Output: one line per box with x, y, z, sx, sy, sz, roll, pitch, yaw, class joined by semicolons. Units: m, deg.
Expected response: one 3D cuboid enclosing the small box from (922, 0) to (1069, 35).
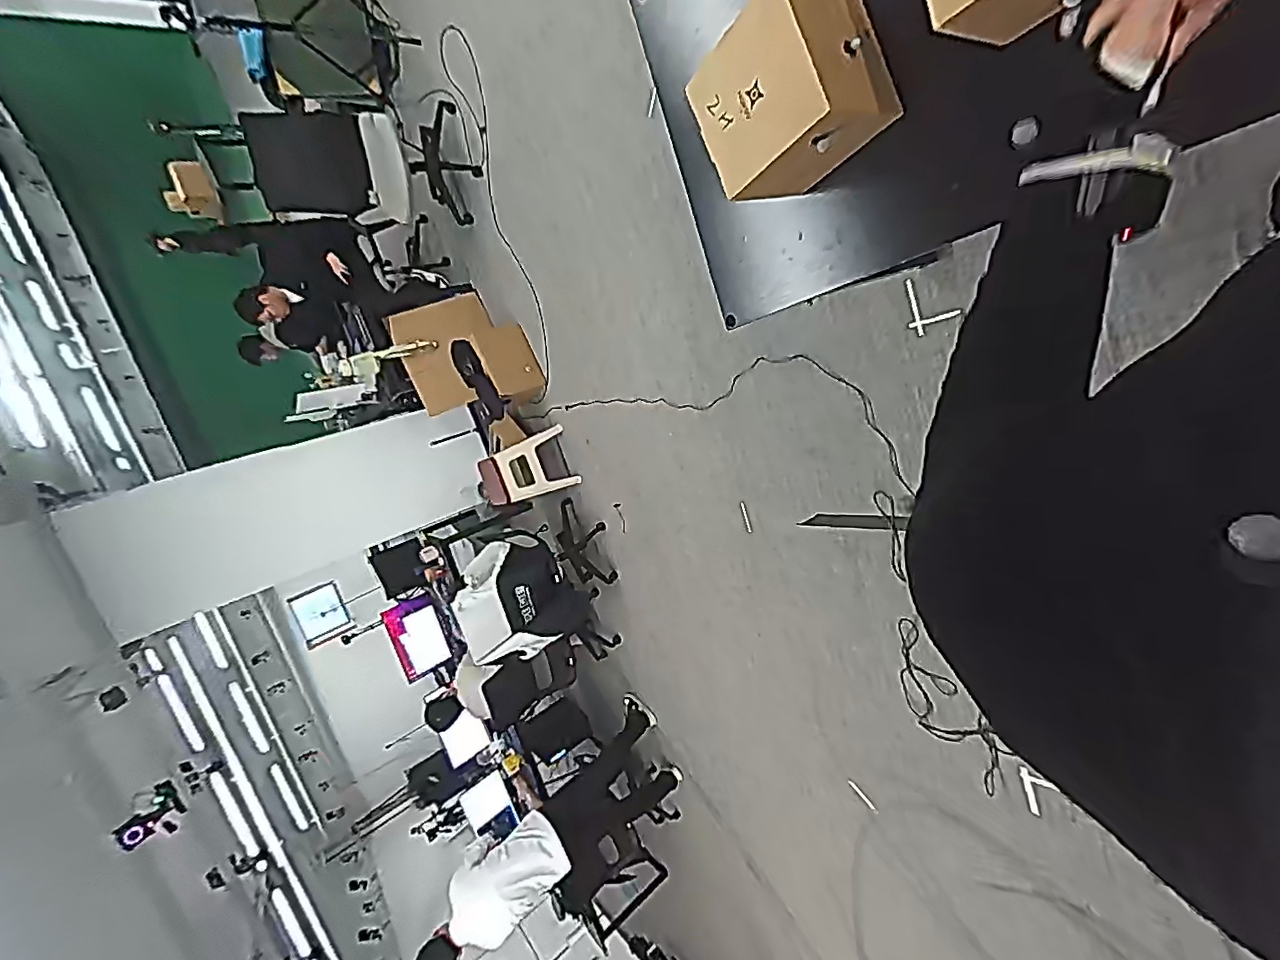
0.355;-0.537;0.473;0.168;0.176;0.179;-3;109;56;small box

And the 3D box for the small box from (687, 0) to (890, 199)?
0.200;-0.506;0.715;0.179;0.176;0.168;-18;96;58;small box
